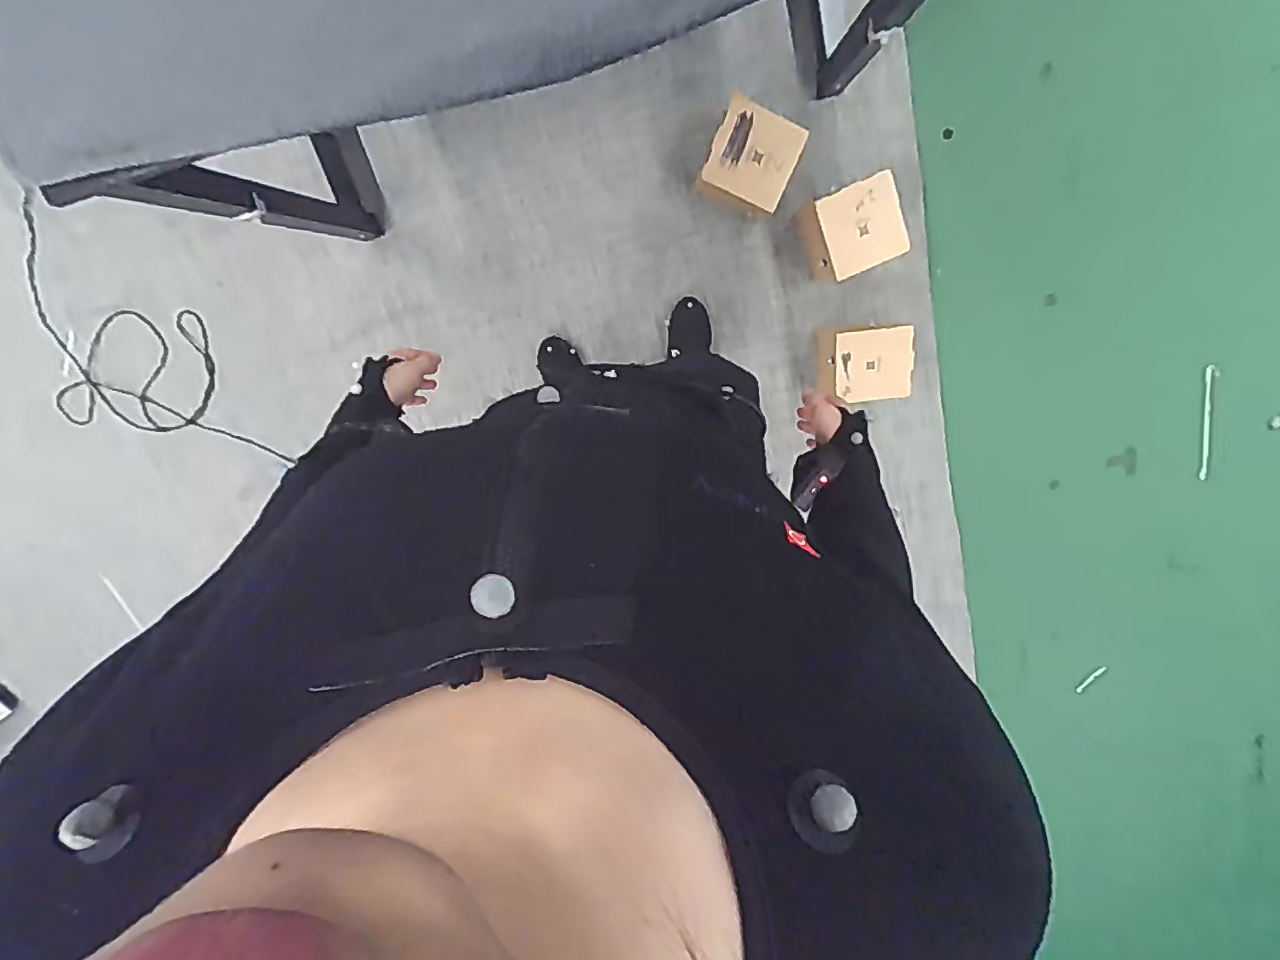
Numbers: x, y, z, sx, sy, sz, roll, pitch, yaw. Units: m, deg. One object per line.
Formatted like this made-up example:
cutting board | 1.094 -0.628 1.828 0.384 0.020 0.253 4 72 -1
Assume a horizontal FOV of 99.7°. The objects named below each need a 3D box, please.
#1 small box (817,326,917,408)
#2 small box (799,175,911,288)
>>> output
small box | 0.544 -0.279 1.317 0.179 0.176 0.168 -5 109 4
small box | 0.480 -0.554 1.225 0.168 0.176 0.179 -21 107 9
